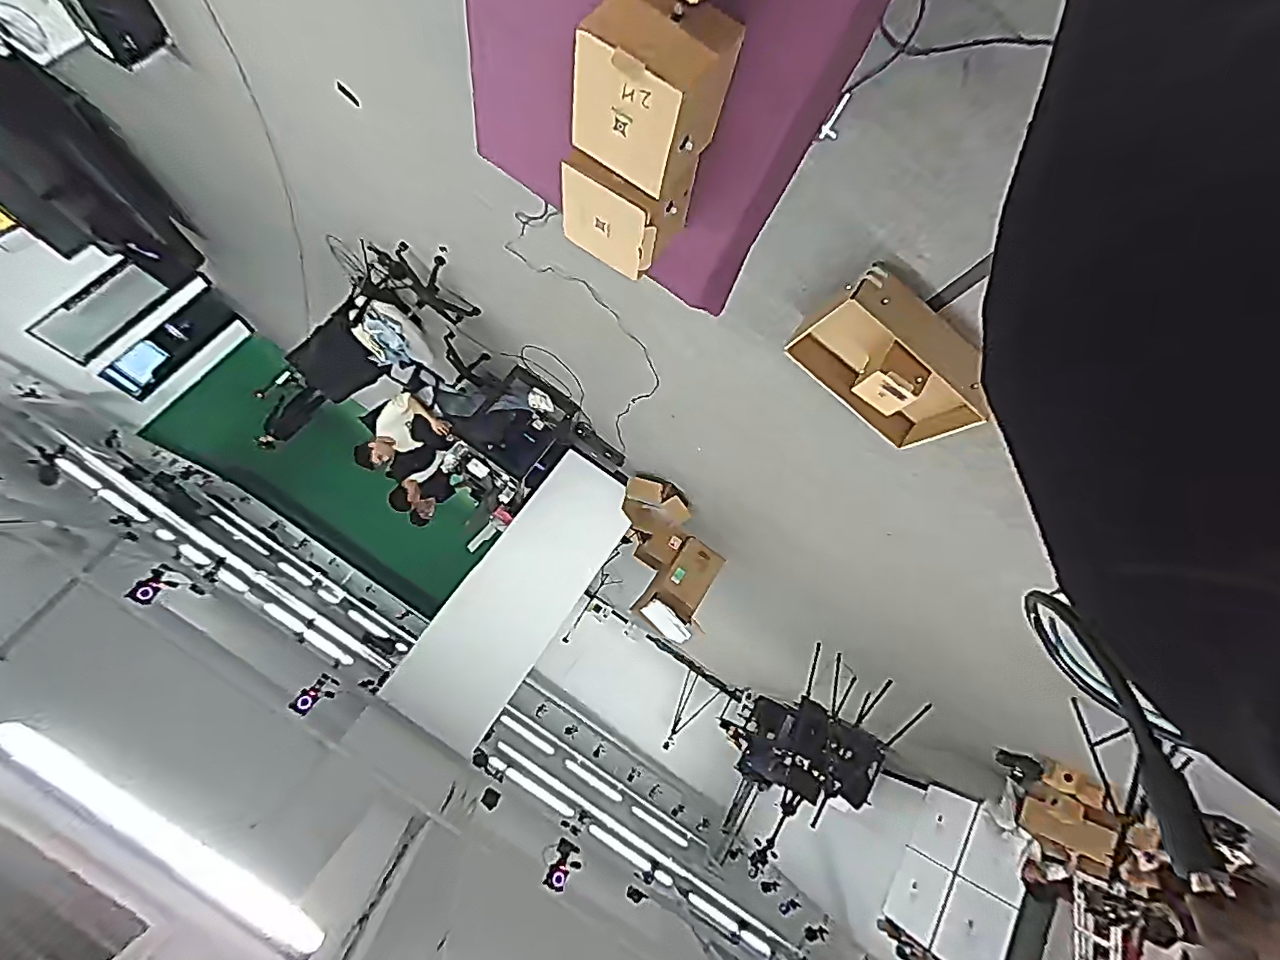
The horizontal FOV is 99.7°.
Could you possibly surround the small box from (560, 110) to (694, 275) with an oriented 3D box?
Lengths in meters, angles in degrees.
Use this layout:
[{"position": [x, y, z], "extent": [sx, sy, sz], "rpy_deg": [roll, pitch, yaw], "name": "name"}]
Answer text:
[{"position": [-0.024, -0.521, 0.979], "extent": [0.179, 0.176, 0.168], "rpy_deg": [34, 160, 6], "name": "small box"}]
